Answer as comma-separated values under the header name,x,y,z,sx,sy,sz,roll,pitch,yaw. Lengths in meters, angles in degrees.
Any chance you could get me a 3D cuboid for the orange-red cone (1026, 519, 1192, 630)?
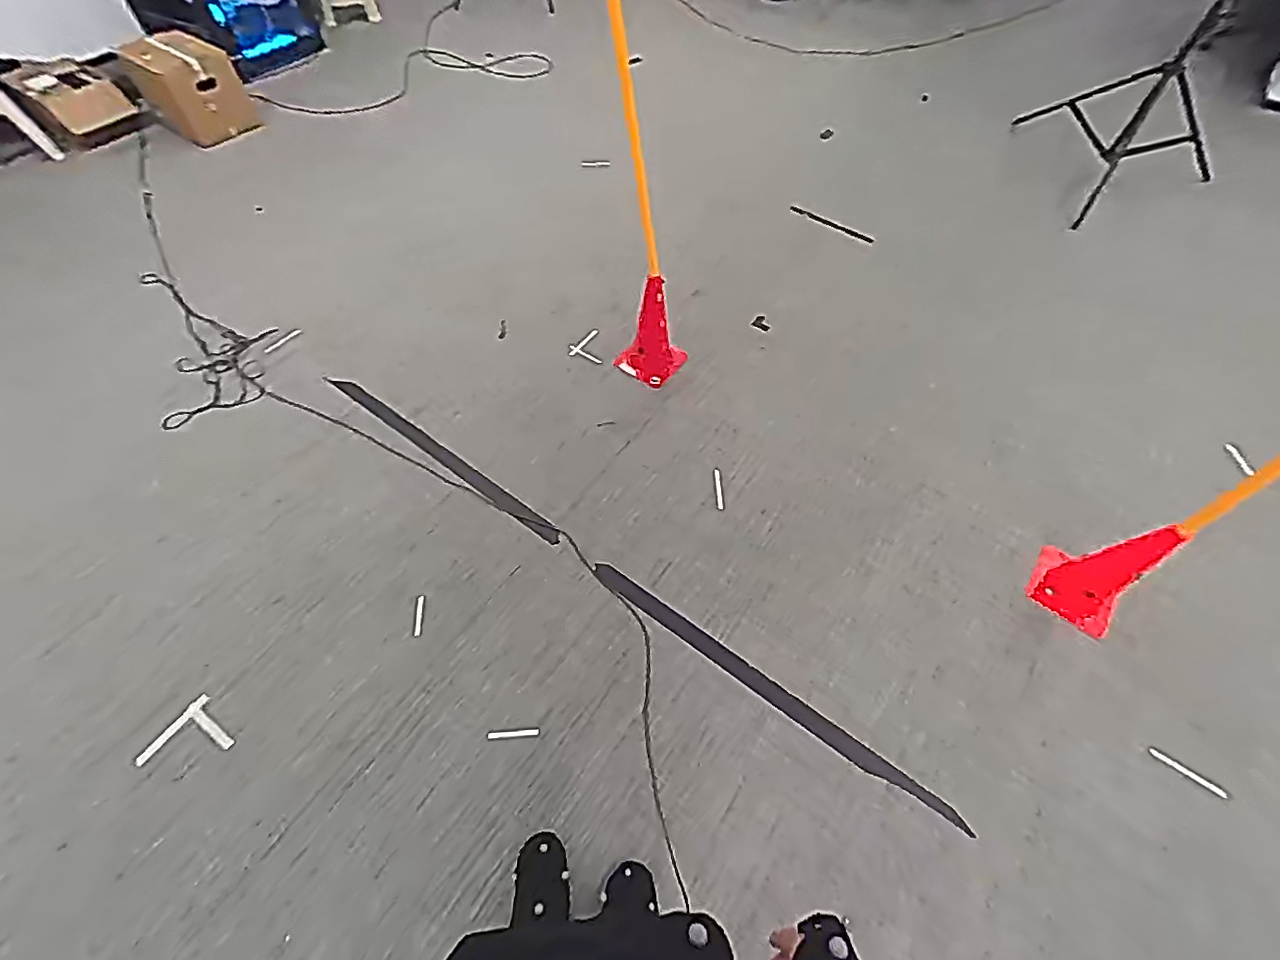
name,x,y,z,sx,sy,sz,roll,pitch,yaw
orange-red cone,1.169,0.190,1.312,0.199,0.360,0.198,35,64,18
